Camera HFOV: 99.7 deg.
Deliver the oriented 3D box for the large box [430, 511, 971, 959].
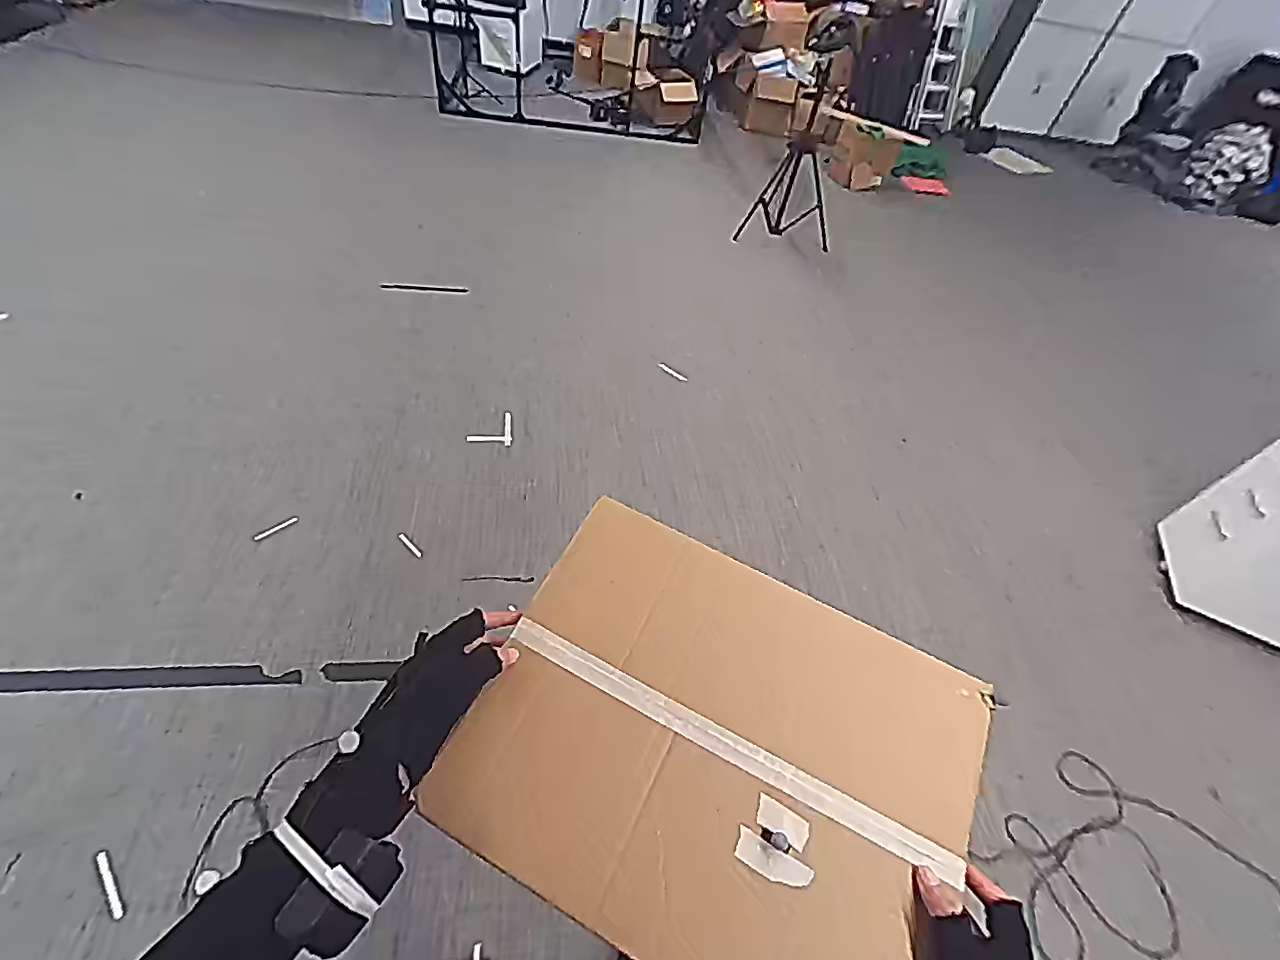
[{"bbox_3d":[0.060,0.300,0.602,0.408,0.320,0.320,26,62,11],"label":"large box"}]
